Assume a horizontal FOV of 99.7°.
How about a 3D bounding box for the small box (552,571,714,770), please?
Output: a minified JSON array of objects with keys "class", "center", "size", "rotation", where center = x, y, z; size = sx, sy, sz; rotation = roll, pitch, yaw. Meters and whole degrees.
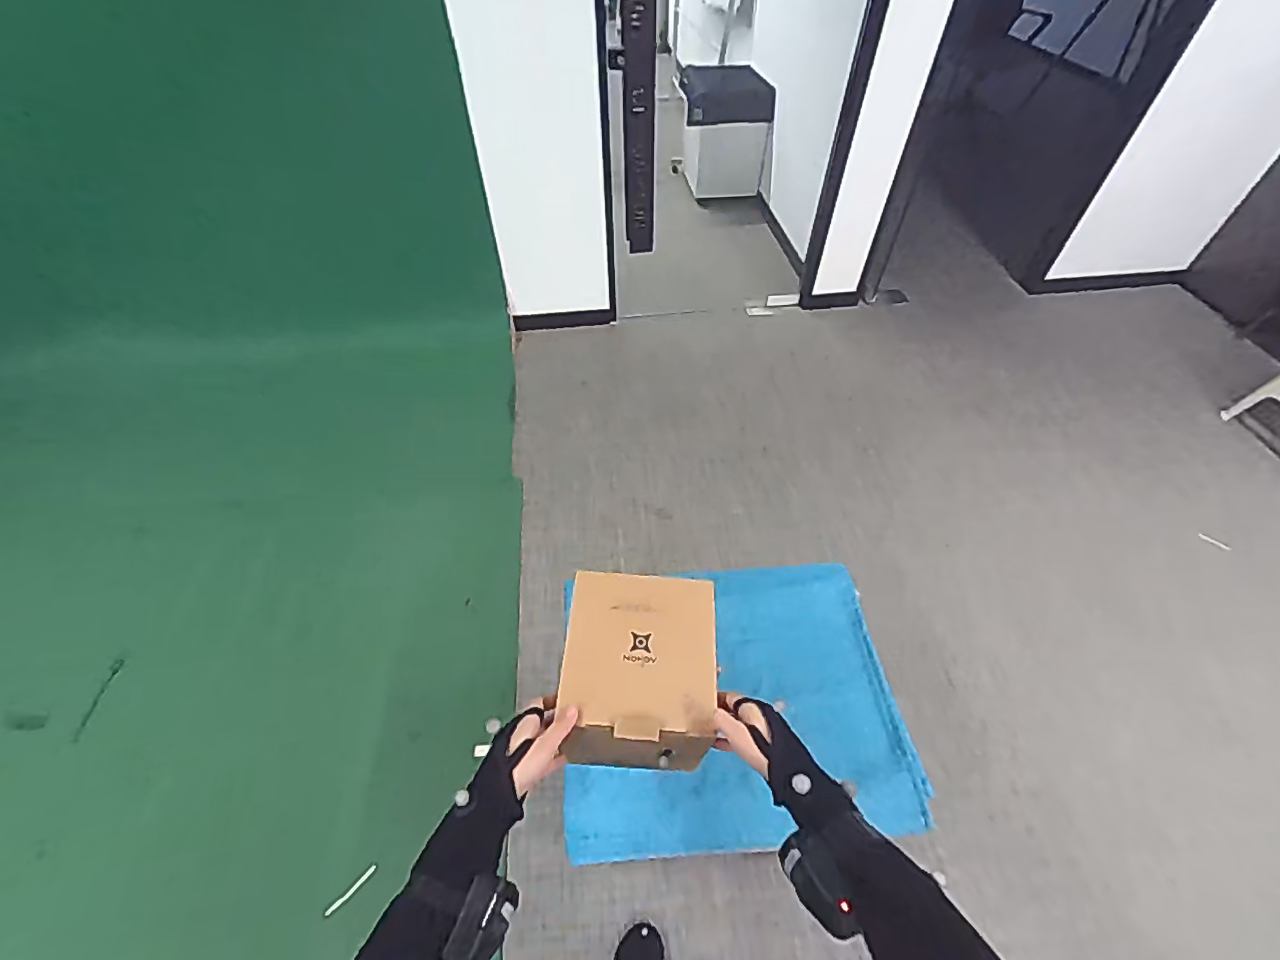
[{"class":"small box","center":[-0.004,0.232,0.647],"size":[0.168,0.176,0.179],"rotation":[5,49,0]}]
